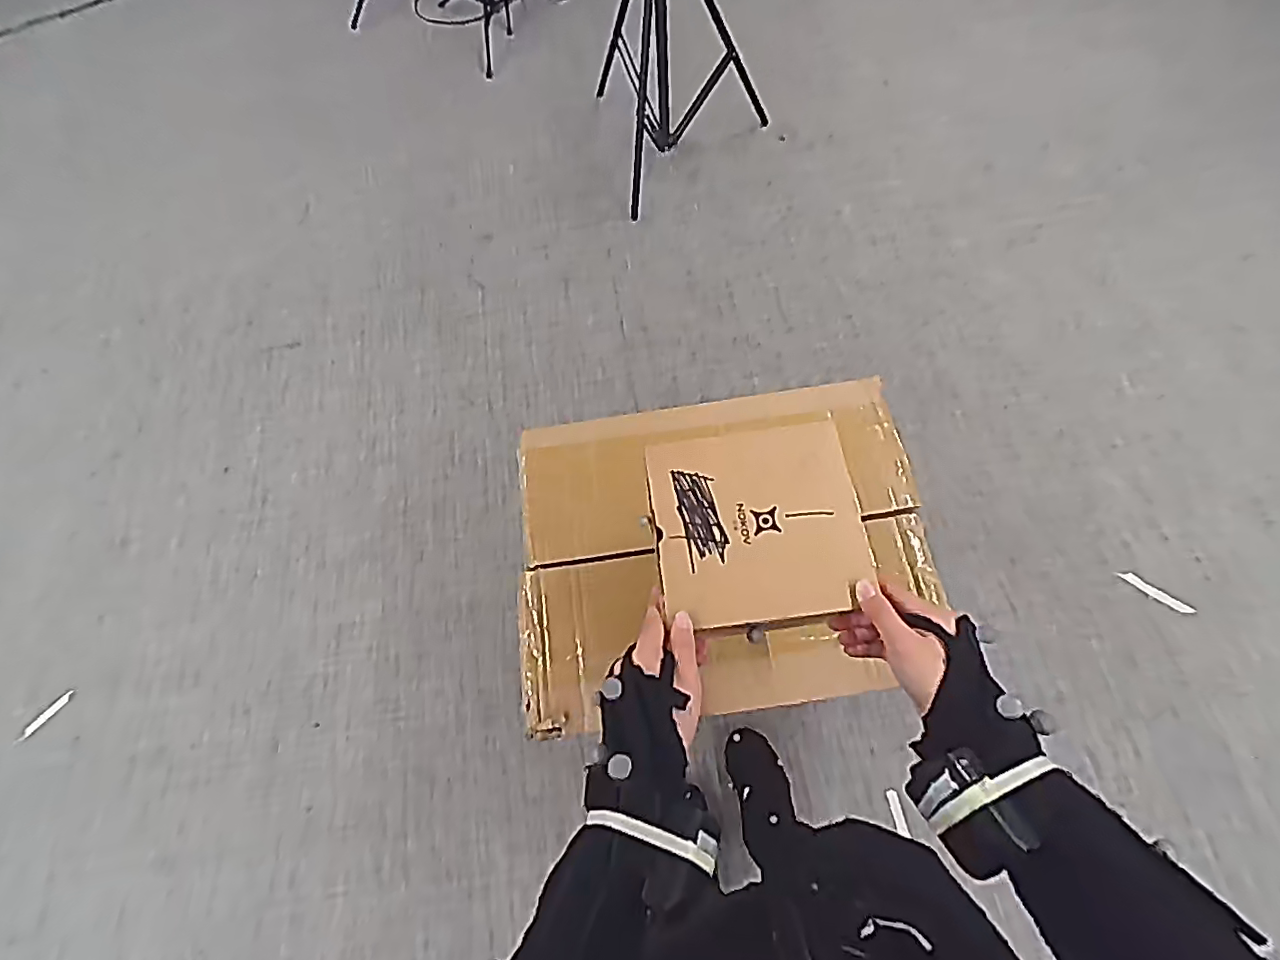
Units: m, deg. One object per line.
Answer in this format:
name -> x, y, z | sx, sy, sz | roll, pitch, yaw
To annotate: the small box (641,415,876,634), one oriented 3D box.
small box -> 0.101, 0.056, 0.536 | 0.179, 0.176, 0.168 | -8, 70, 1
